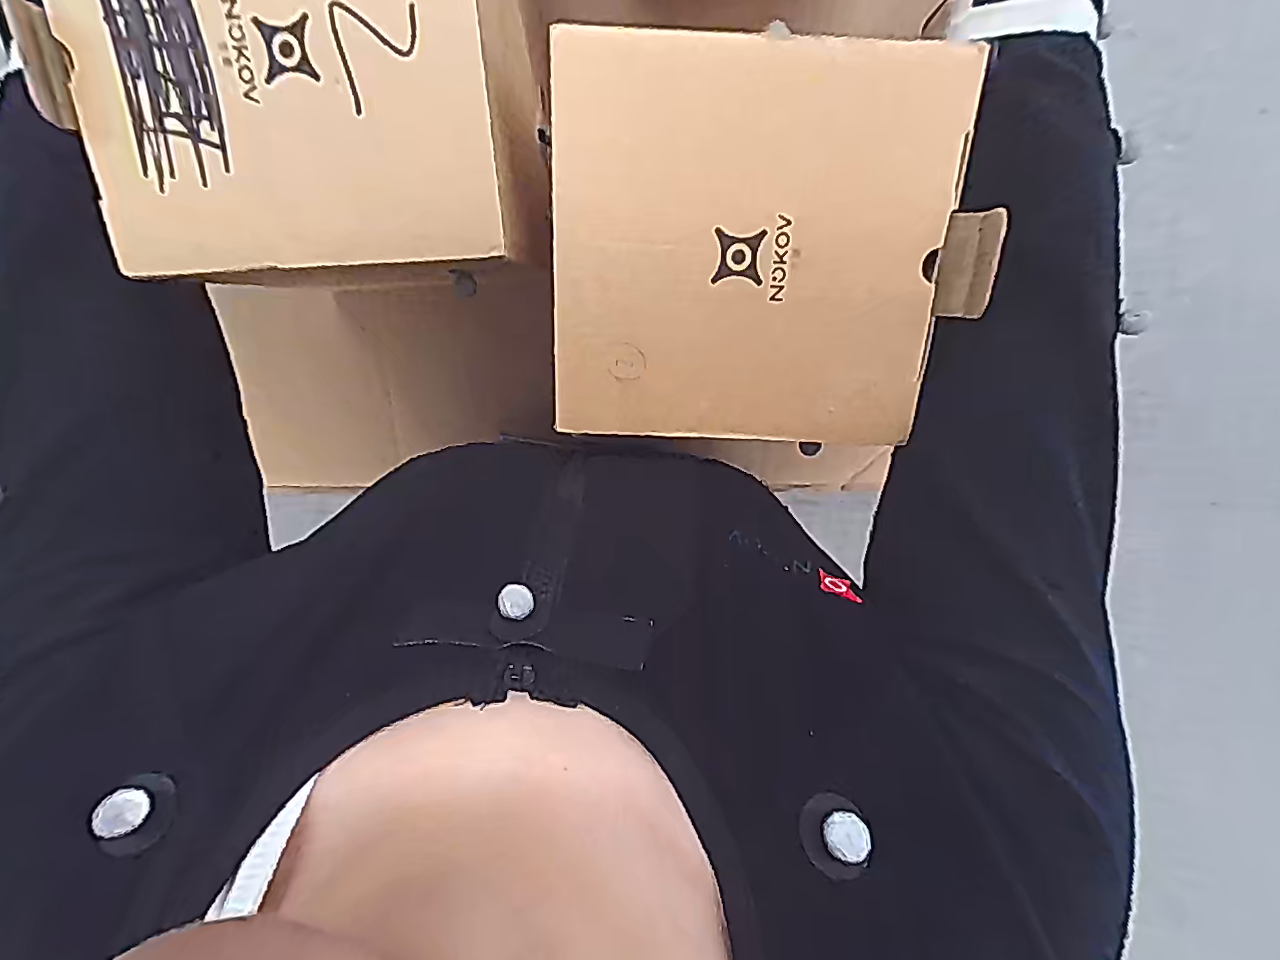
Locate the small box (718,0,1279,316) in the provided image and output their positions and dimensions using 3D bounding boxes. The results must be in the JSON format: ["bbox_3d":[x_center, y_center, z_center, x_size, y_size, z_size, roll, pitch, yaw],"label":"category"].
[{"bbox_3d":[0.151,-0.194,0.276,0.179,0.176,0.168,15,115,-4],"label":"small box"}]
